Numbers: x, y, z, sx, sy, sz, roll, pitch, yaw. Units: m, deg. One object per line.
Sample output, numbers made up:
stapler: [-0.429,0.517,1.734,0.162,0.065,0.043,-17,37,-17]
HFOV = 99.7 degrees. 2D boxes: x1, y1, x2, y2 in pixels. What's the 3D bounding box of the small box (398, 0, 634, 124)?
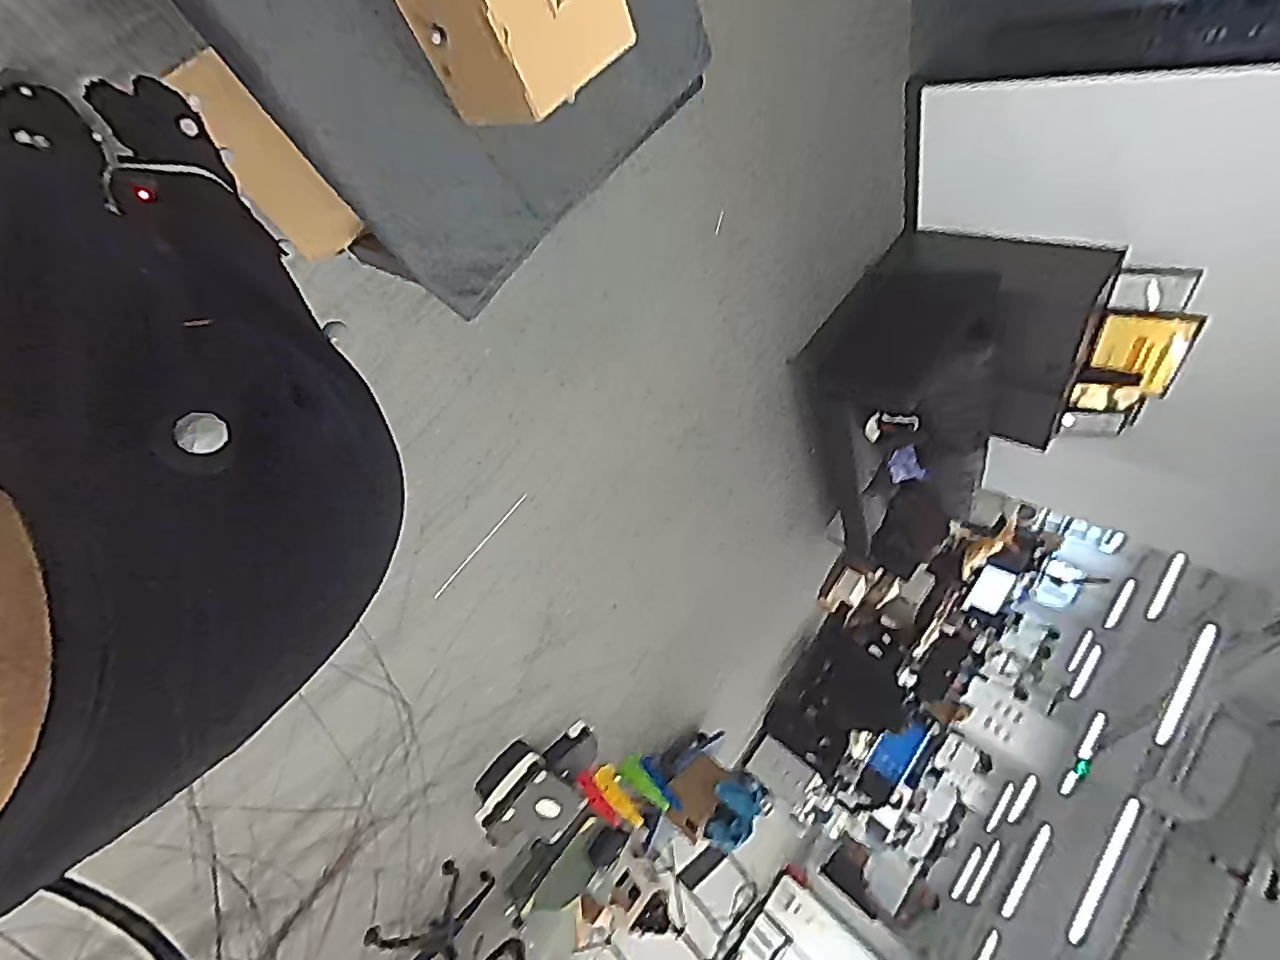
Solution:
small box: [-0.143,-0.540,0.617,0.179,0.176,0.168,-49,141,-14]
